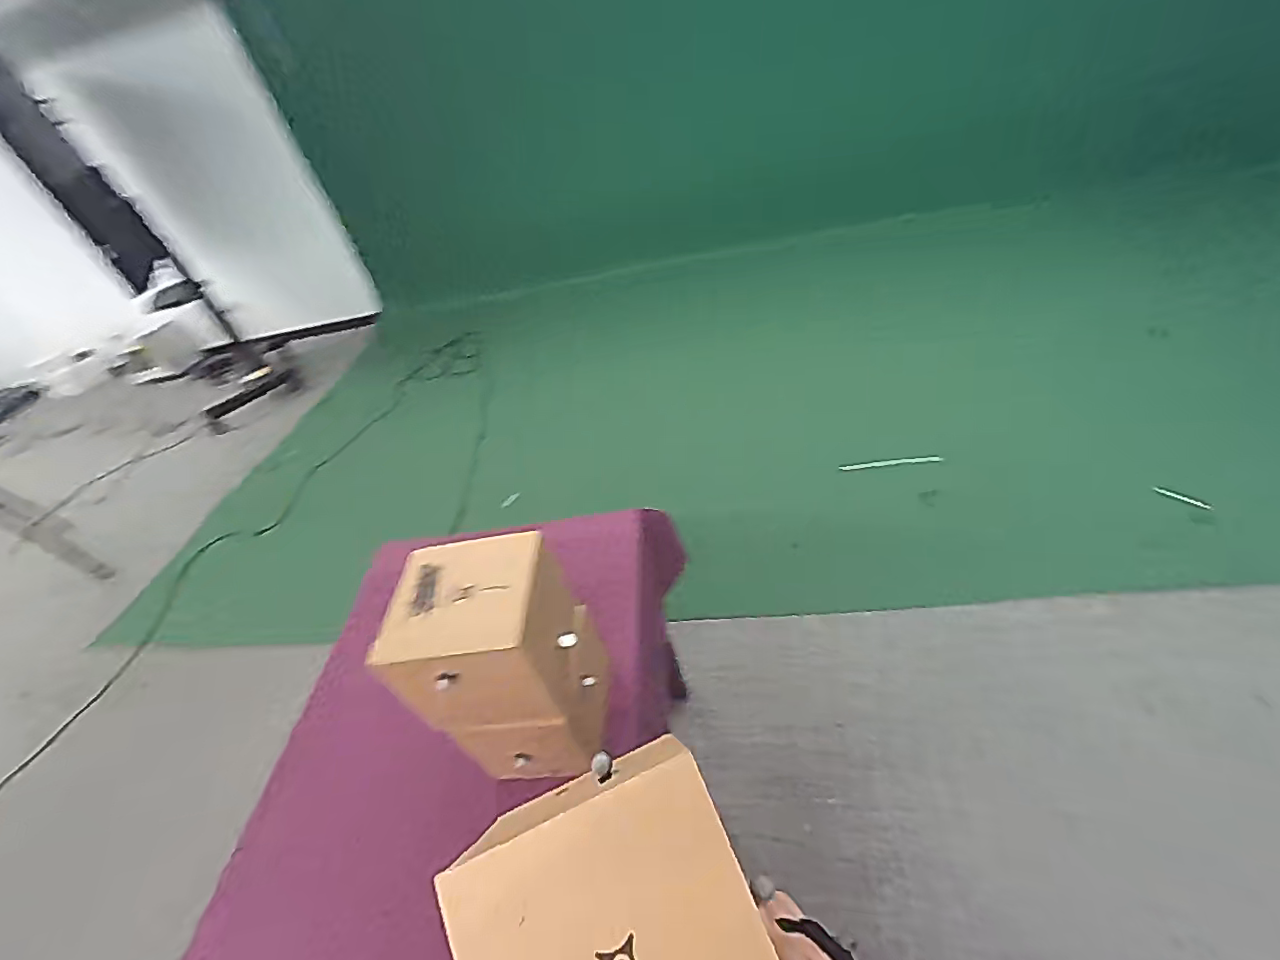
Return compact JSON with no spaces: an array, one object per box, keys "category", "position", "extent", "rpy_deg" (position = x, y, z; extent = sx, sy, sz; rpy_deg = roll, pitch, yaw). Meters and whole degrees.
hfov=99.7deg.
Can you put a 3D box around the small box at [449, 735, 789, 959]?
[{"category":"small box","position":[-0.008,0.293,0.371],"extent":[0.168,0.176,0.179],"rpy_deg":[-21,72,-9]}]

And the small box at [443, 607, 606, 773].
[{"category":"small box","position":[-0.153,0.311,0.788],"extent":[0.168,0.176,0.179],"rpy_deg":[-8,41,10]}]

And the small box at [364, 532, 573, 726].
[{"category":"small box","position":[-0.198,0.192,0.683],"extent":[0.179,0.176,0.168],"rpy_deg":[-10,41,8]}]
